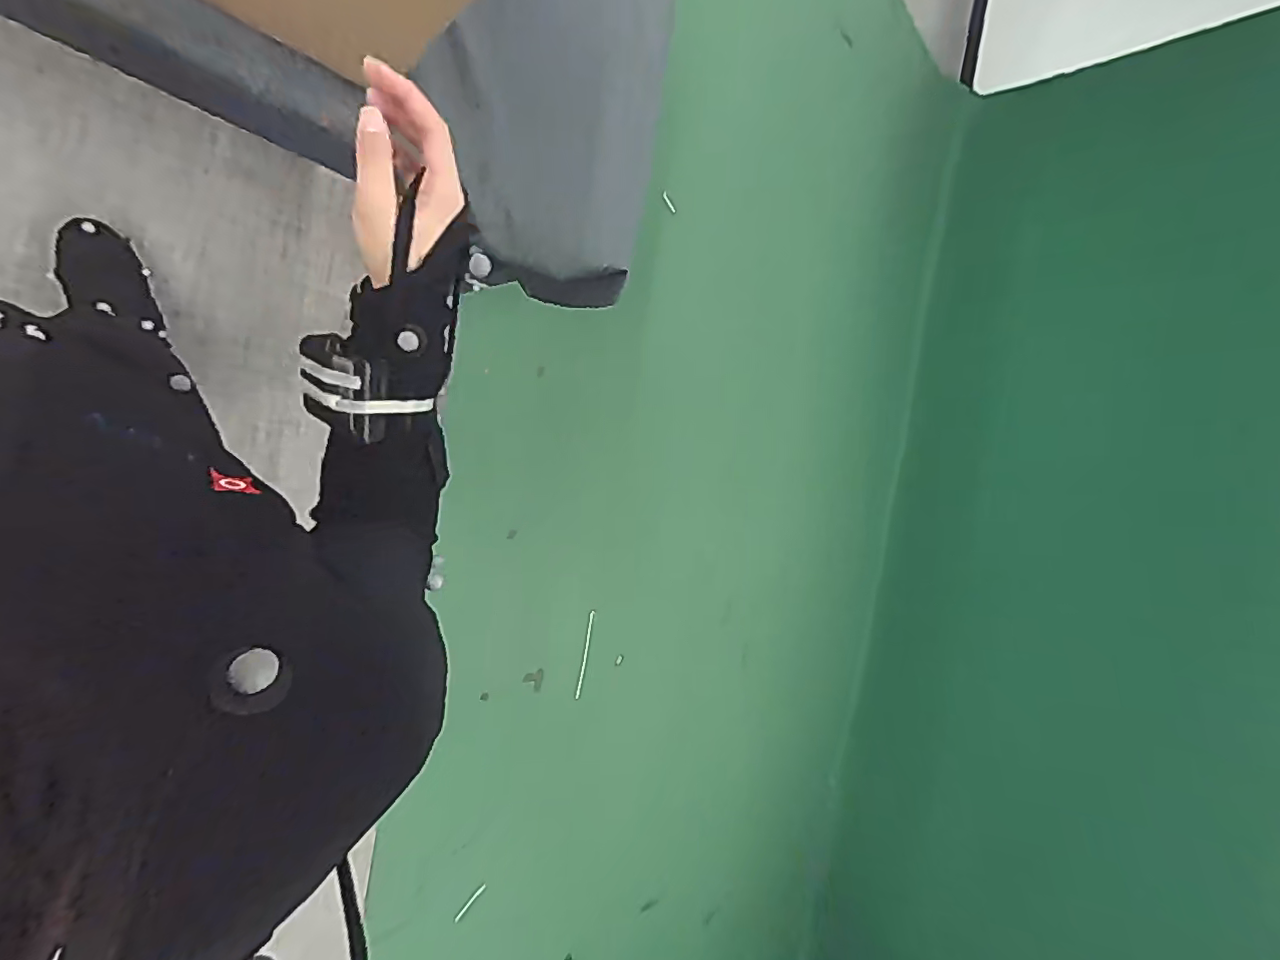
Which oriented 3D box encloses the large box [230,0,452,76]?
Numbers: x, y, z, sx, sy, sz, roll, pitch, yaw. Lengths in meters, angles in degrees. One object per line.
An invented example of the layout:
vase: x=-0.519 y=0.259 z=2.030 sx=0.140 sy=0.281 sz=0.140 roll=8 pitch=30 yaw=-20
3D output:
large box: x=-0.300 y=-0.571 z=0.335 sx=0.408 sy=0.320 sz=0.320 roll=4 pitch=95 yaw=-47
